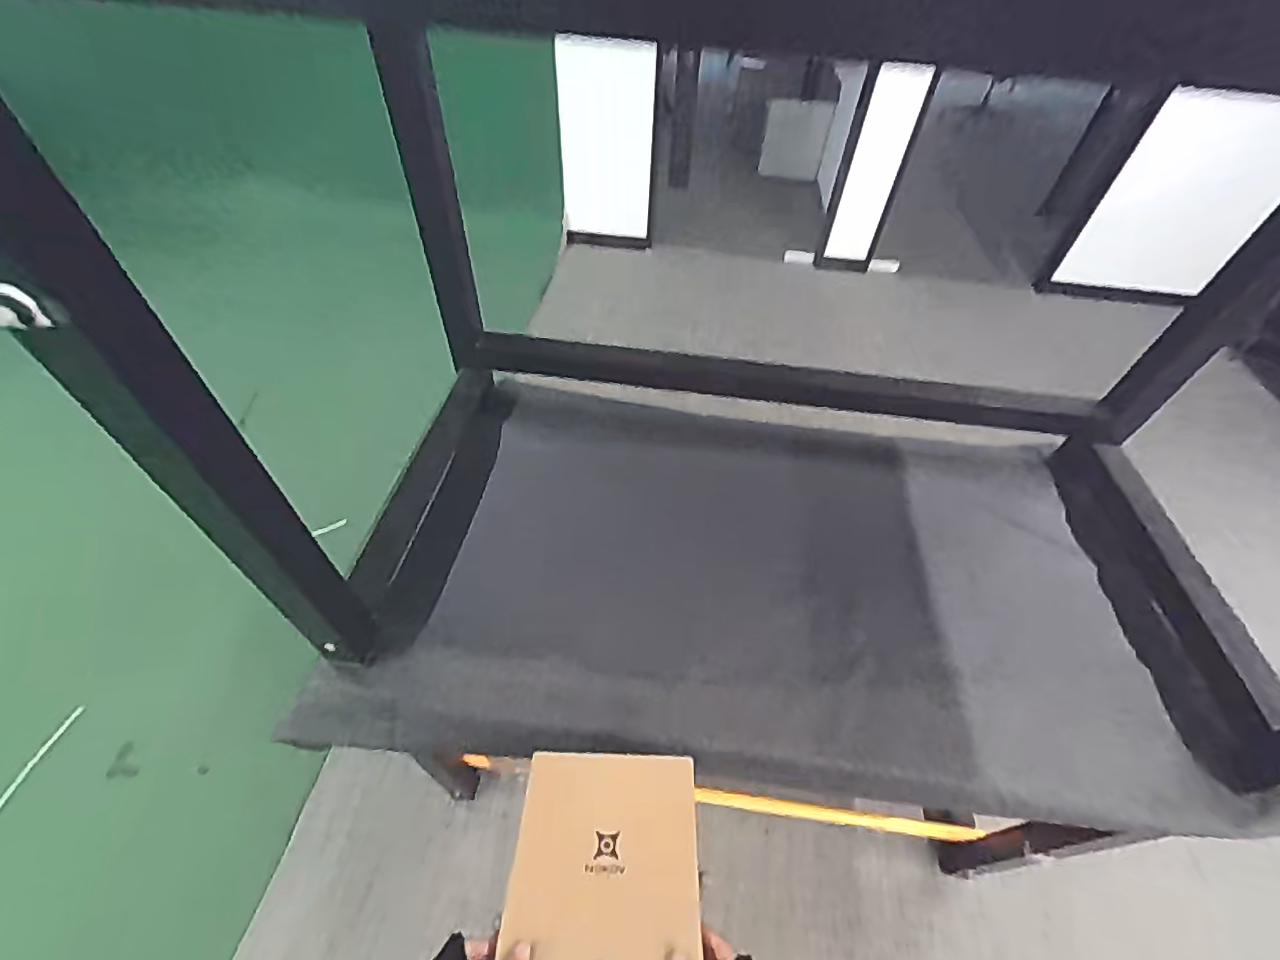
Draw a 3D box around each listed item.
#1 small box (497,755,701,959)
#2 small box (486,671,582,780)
[{"bbox_3d":[-0.031,0.404,0.537,0.168,0.176,0.179,2,37,1],"label":"small box"},{"bbox_3d":[-0.223,0.545,1.186,0.168,0.176,0.179,7,50,2],"label":"small box"}]
